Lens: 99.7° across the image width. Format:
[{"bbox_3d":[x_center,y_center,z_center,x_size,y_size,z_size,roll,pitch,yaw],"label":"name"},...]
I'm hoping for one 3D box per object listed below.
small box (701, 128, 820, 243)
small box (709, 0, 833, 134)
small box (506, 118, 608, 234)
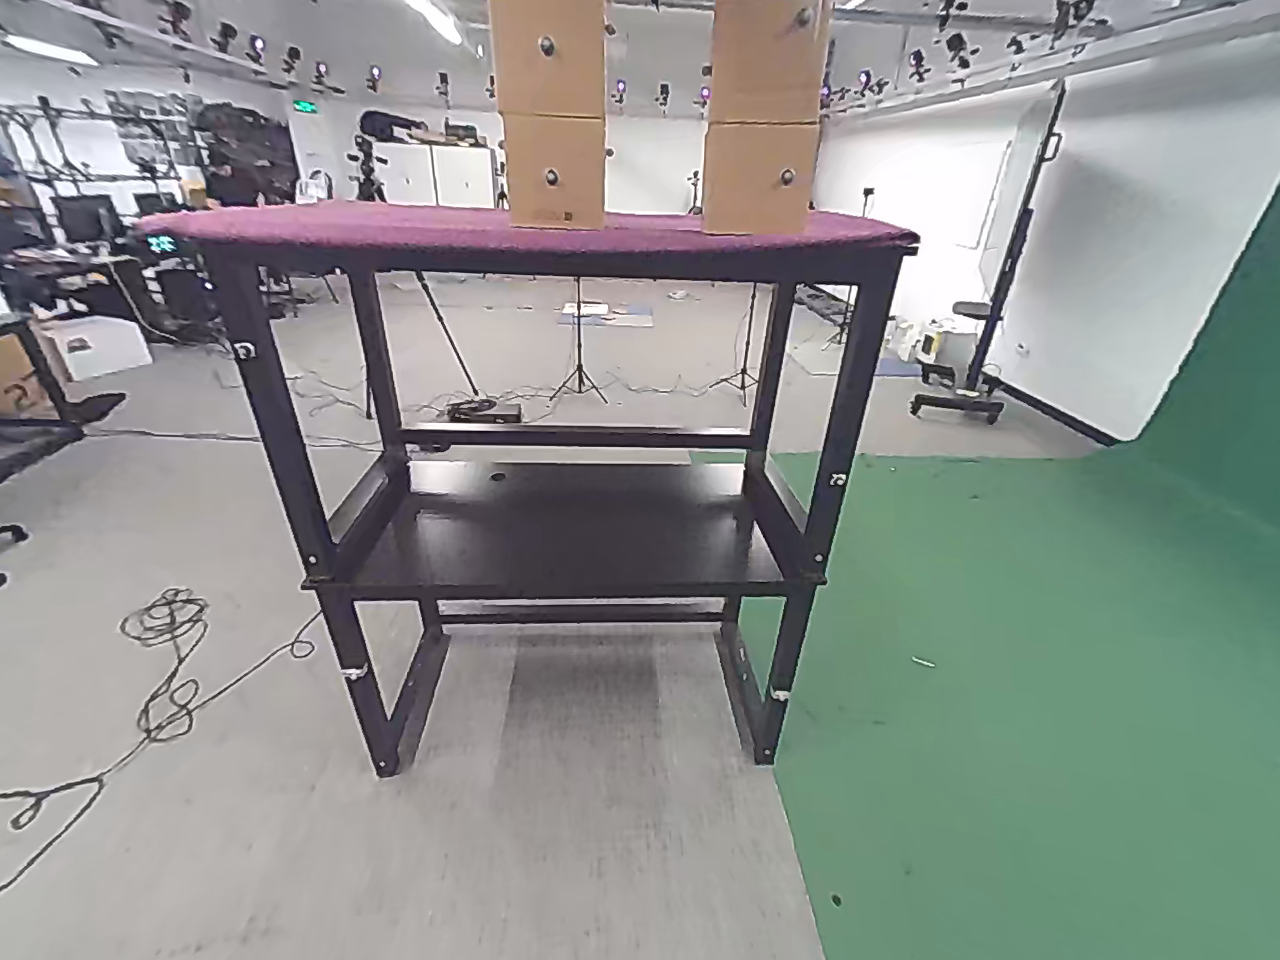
[{"bbox_3d":[0.207,-0.527,0.979,0.179,0.176,0.168,1,26,1],"label":"small box"},{"bbox_3d":[0.208,-0.676,0.913,0.179,0.176,0.168,4,26,3],"label":"small box"},{"bbox_3d":[-0.142,-0.550,0.990,0.168,0.176,0.179,2,28,-4],"label":"small box"}]
